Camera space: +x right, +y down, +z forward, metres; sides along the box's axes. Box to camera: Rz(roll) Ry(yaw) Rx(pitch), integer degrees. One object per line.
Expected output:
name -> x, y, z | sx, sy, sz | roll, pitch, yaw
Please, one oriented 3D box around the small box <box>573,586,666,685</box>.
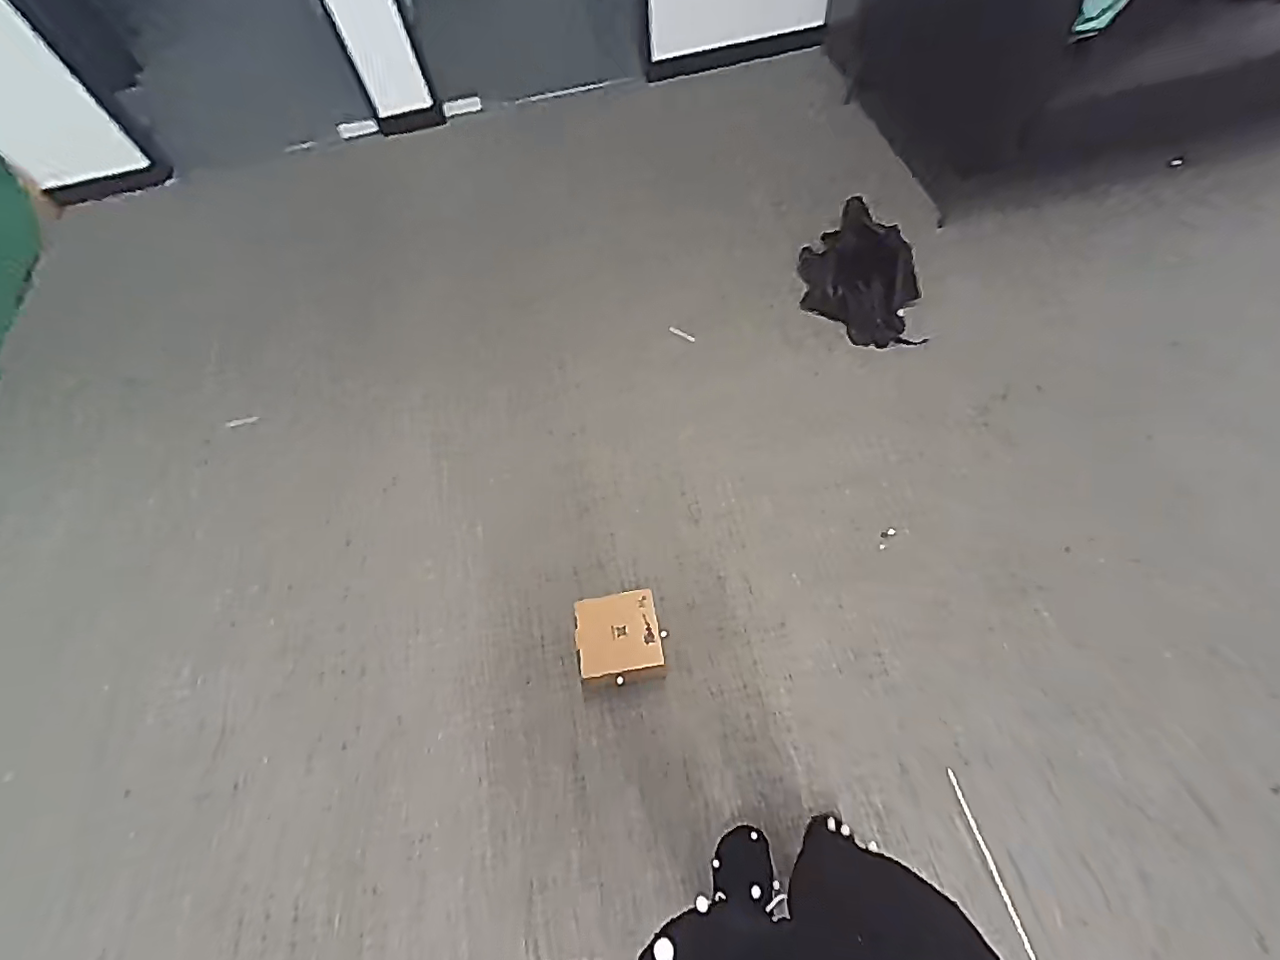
small box -> -0.042, 0.353, 1.215 | 0.179, 0.176, 0.168 | -10, 62, 0
